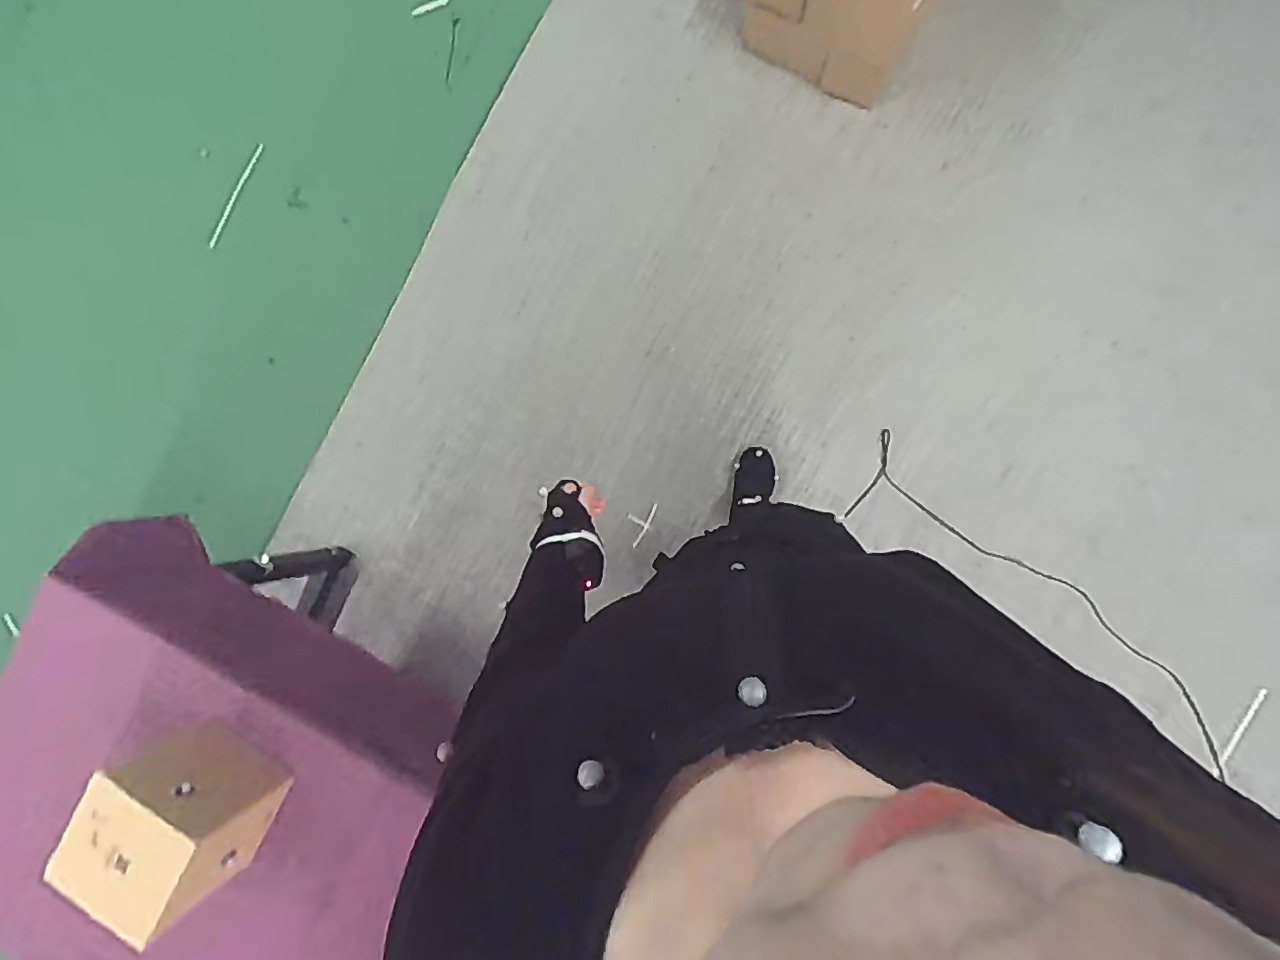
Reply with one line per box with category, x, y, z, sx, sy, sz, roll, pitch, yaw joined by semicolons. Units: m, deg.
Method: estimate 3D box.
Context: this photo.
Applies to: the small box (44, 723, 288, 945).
small box;-0.663;0.488;0.778;0.179;0.176;0.168;30;92;7
